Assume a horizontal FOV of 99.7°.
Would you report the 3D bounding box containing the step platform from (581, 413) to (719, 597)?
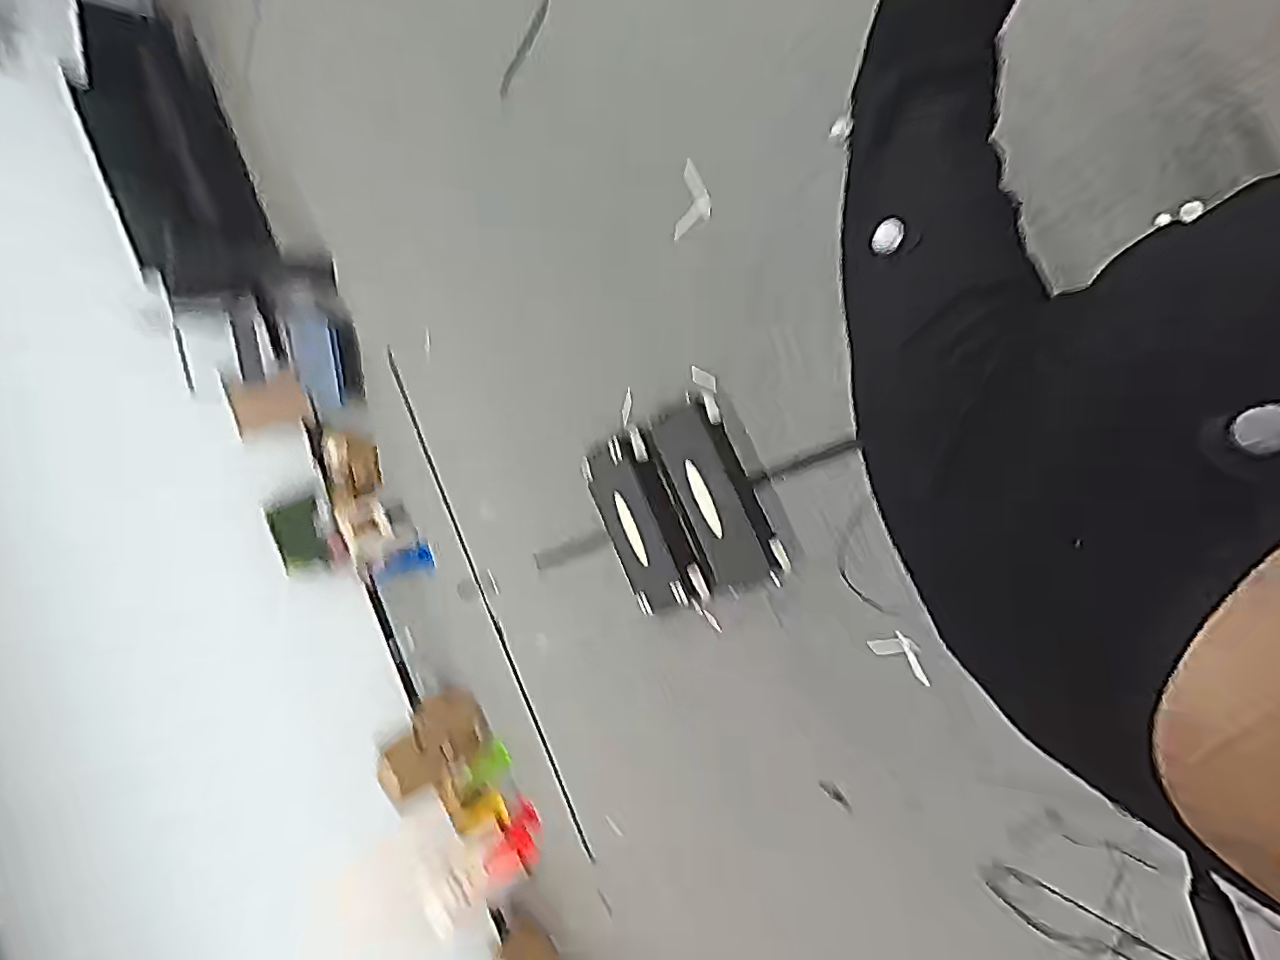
[{"bbox_3d":[0.027,0.100,2.057,0.286,0.204,0.684,-29,82,46],"label":"step platform"}]
